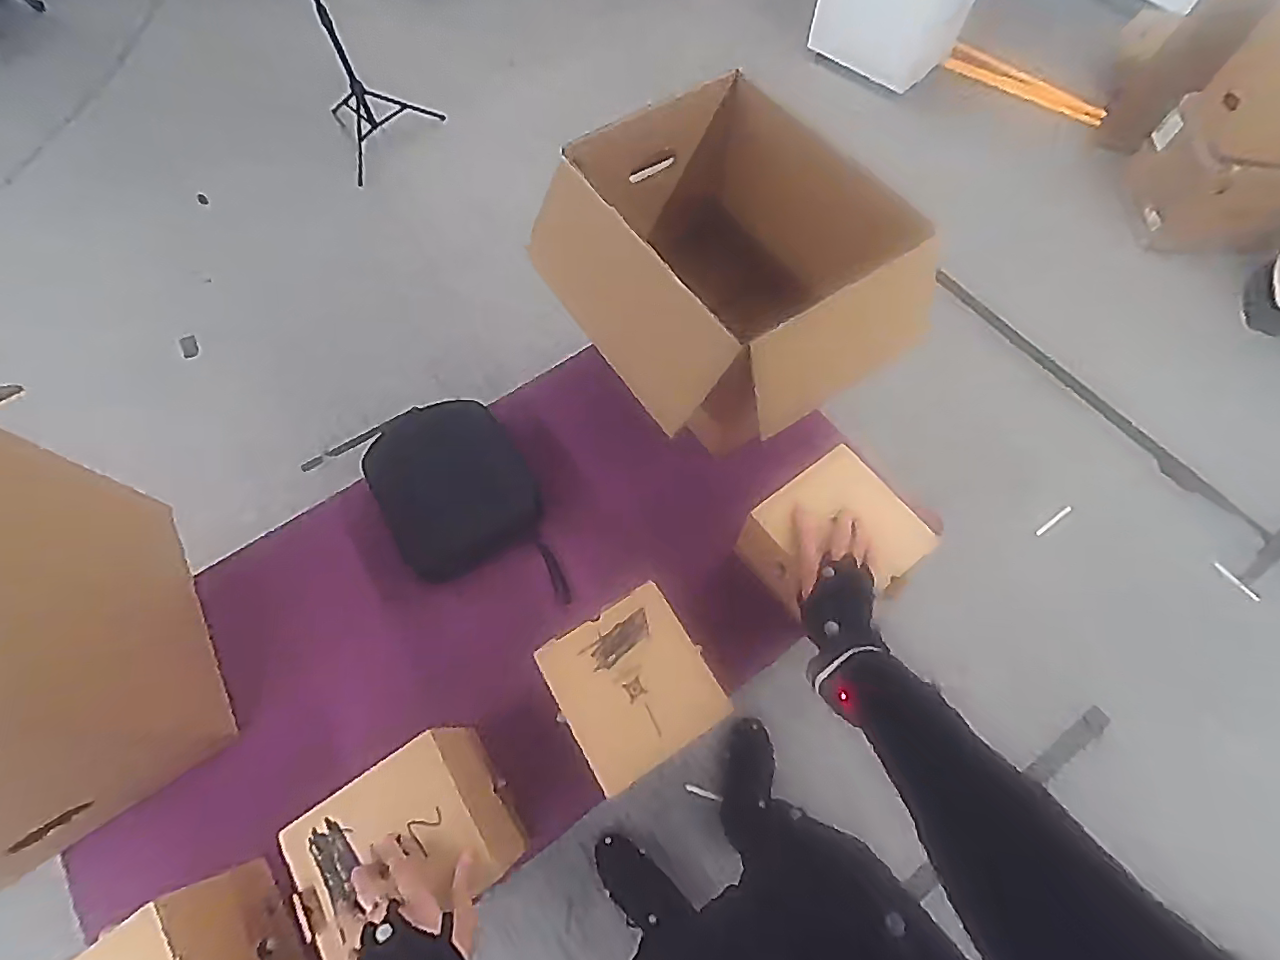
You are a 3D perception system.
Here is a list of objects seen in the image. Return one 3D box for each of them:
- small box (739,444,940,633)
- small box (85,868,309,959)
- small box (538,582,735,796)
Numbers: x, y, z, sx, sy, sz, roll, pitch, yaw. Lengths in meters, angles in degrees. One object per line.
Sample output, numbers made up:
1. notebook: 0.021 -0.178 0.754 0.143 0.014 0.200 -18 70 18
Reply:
1. small box: 0.257 0.089 0.747 0.168 0.176 0.179 -35 70 -12
2. small box: -0.490 0.558 0.565 0.179 0.176 0.168 -36 70 -15
3. small box: -0.006 0.260 0.682 0.168 0.176 0.179 -30 70 -11
